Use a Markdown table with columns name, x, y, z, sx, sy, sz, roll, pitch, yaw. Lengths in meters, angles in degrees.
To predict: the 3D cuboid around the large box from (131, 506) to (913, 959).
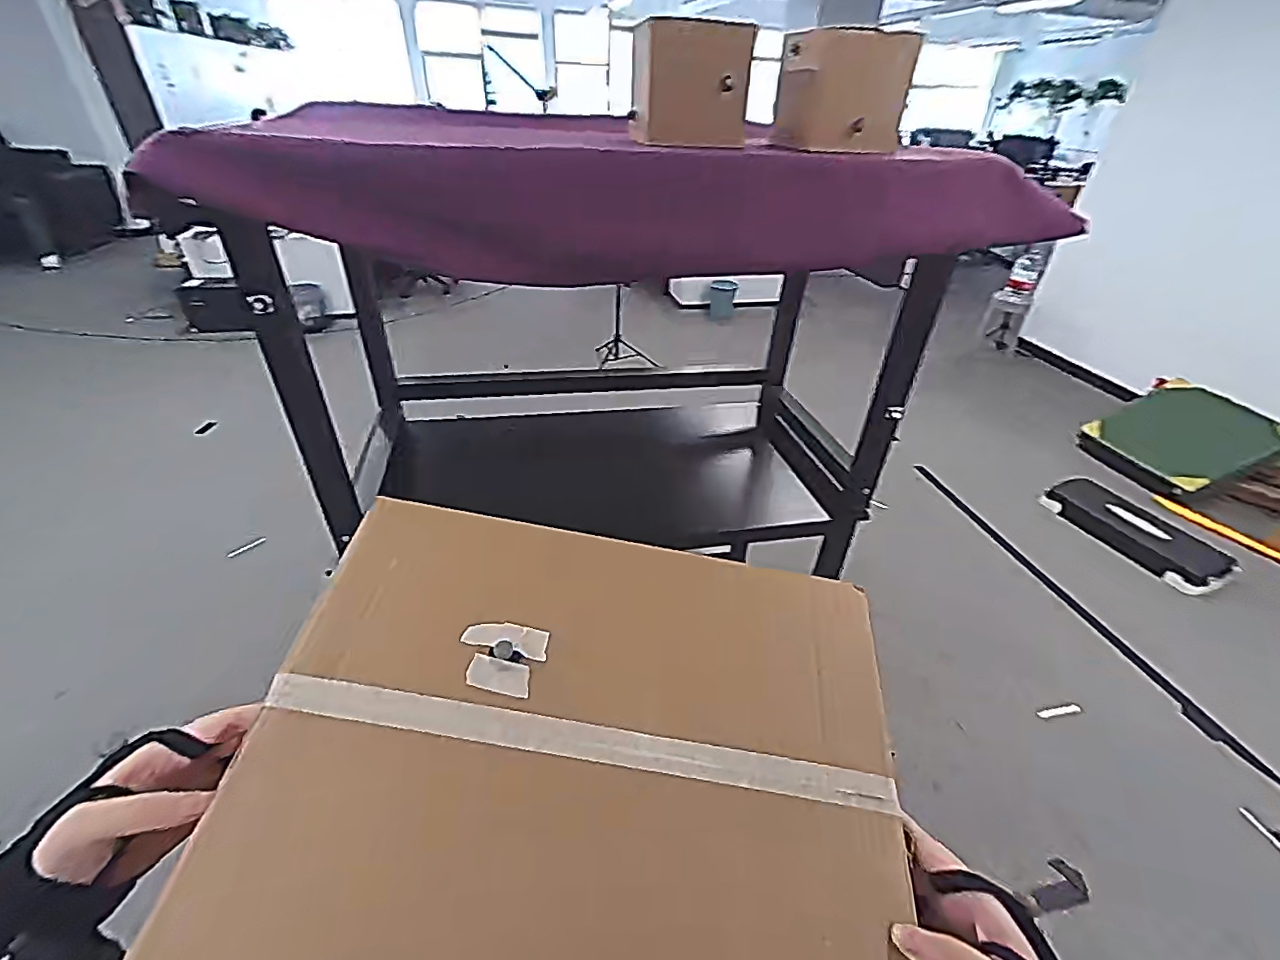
| name | x | y | z | sx | sy | sz | roll | pitch | yaw |
| --- | --- | --- | --- | --- | --- | --- | --- | --- | --- |
| large box | -0.052 | 0.258 | 0.458 | 0.408 | 0.320 | 0.320 | 10 | 51 | 0 |

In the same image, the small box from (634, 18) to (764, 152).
| name | x | y | z | sx | sy | sz | roll | pitch | yaw |
| --- | --- | --- | --- | --- | --- | --- | --- | --- | --- |
| small box | 0.090 | -0.668 | 0.926 | 0.179 | 0.176 | 0.168 | -5 | 35 | -10 |

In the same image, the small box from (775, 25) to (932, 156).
| name | x | y | z | sx | sy | sz | roll | pitch | yaw |
| --- | --- | --- | --- | --- | --- | --- | --- | --- | --- |
| small box | 0.358 | -0.672 | 0.945 | 0.179 | 0.176 | 0.168 | -5 | 35 | -12 |
